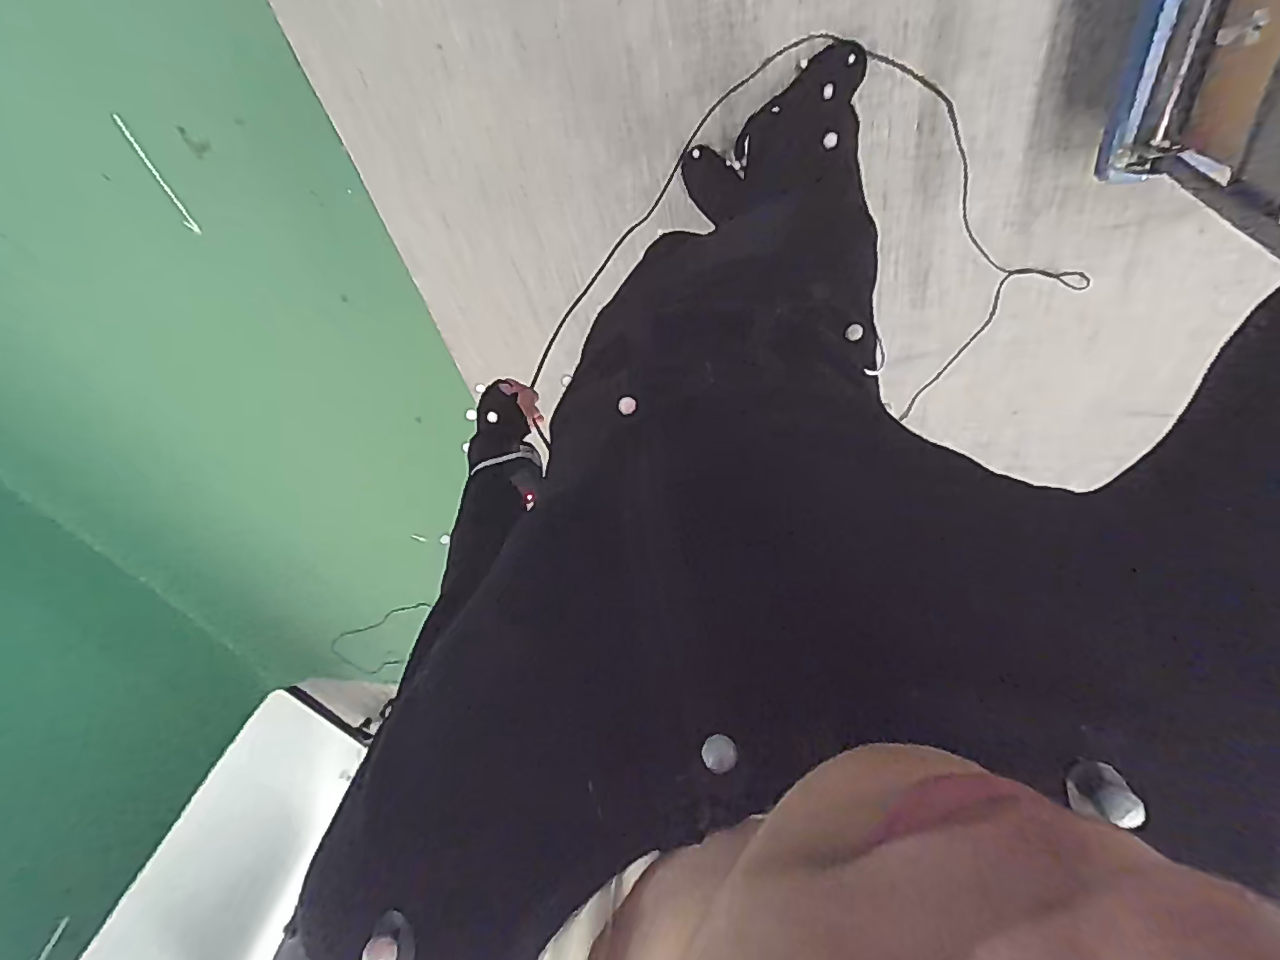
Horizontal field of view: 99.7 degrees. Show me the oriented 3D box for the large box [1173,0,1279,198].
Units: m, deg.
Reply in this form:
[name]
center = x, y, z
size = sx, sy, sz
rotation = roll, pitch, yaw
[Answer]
[large box]
center = 1.074, -0.612, 0.712
size = 0.408, 0.320, 0.320
rotation = -2, 133, 16
